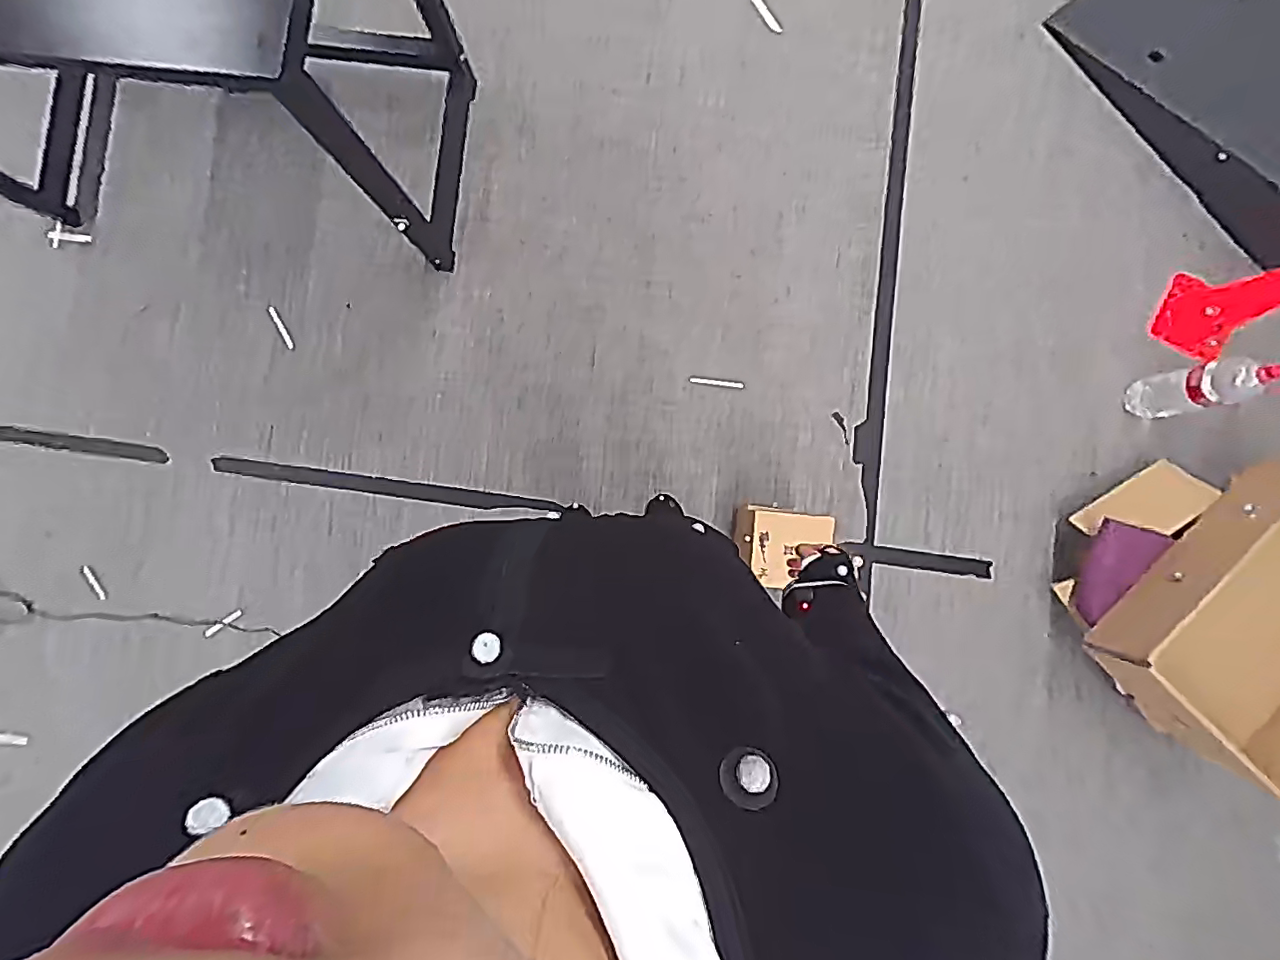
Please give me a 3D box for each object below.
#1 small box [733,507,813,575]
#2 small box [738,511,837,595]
[{"bbox_3d":[0.341,0.167,1.410,0.168,0.176,0.179,7,87,2],"label":"small box"},{"bbox_3d":[0.333,0.161,1.247,0.179,0.176,0.168,5,88,1],"label":"small box"}]
